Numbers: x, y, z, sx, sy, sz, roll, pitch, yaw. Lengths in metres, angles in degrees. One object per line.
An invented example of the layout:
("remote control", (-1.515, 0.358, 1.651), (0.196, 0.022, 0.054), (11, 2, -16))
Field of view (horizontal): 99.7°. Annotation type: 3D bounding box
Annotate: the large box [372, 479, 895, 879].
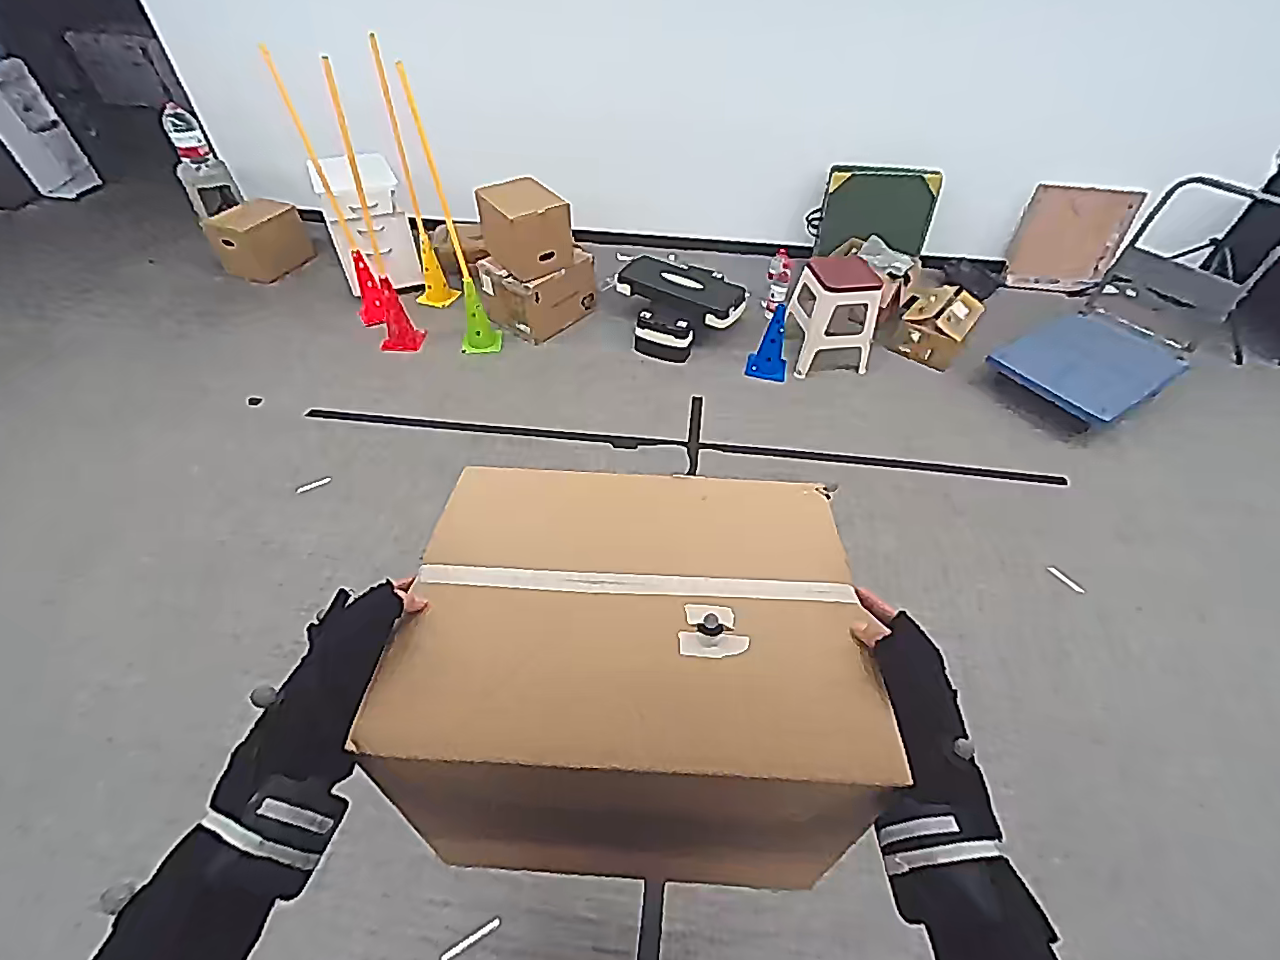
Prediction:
("large box", (-0.006, 0.219, 0.611), (0.408, 0.320, 0.320), (3, 42, 1))
